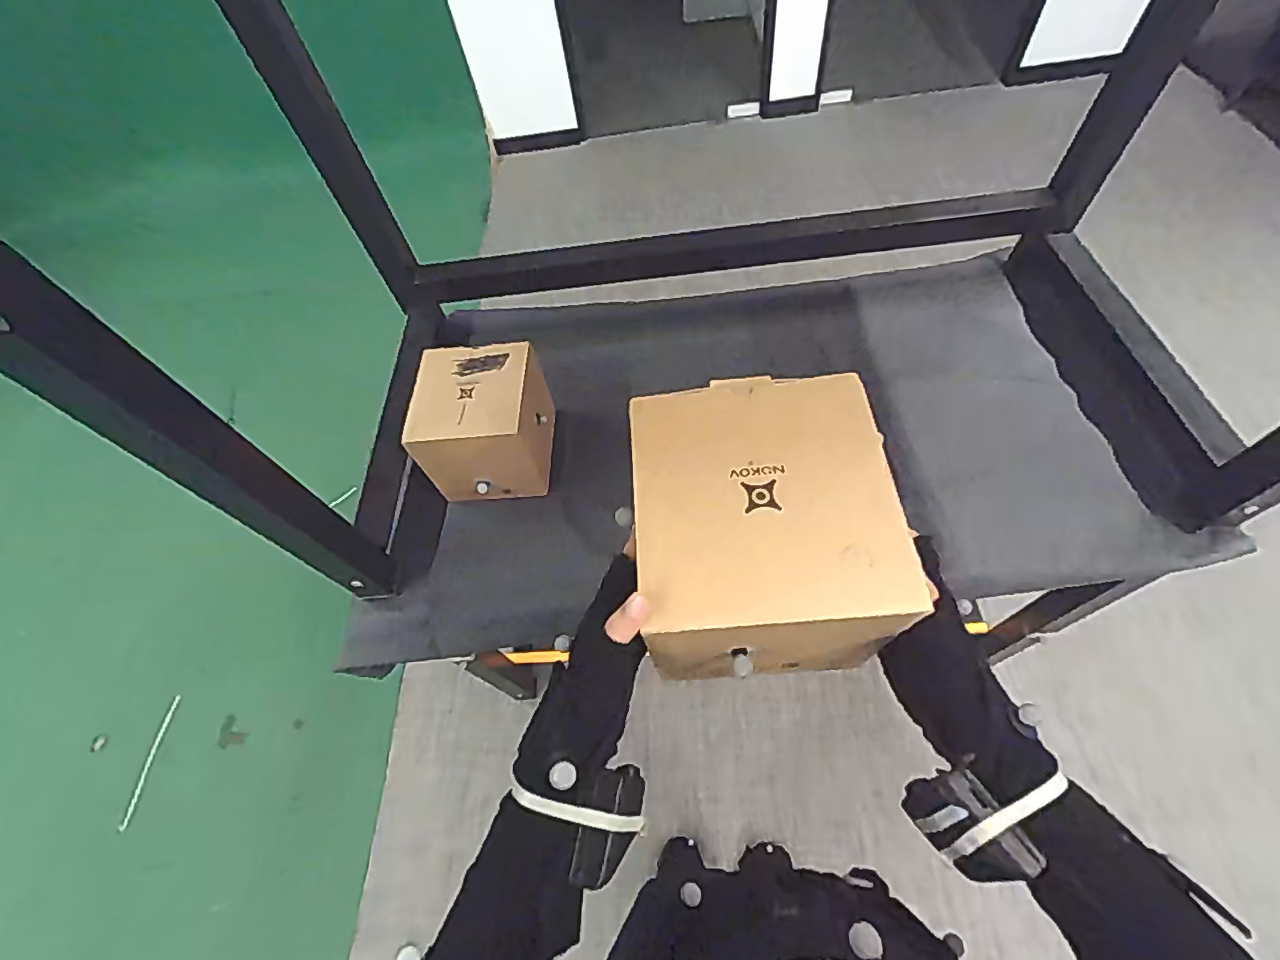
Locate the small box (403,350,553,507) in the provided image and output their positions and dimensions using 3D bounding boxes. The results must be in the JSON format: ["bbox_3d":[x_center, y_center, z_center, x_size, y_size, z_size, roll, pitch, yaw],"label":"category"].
[{"bbox_3d":[-0.236,-0.076,0.840,0.168,0.176,0.179,-4,58,5],"label":"small box"}]

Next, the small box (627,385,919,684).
[{"bbox_3d":[0.084,0.054,0.420,0.168,0.176,0.179,-6,59,4],"label":"small box"}]
